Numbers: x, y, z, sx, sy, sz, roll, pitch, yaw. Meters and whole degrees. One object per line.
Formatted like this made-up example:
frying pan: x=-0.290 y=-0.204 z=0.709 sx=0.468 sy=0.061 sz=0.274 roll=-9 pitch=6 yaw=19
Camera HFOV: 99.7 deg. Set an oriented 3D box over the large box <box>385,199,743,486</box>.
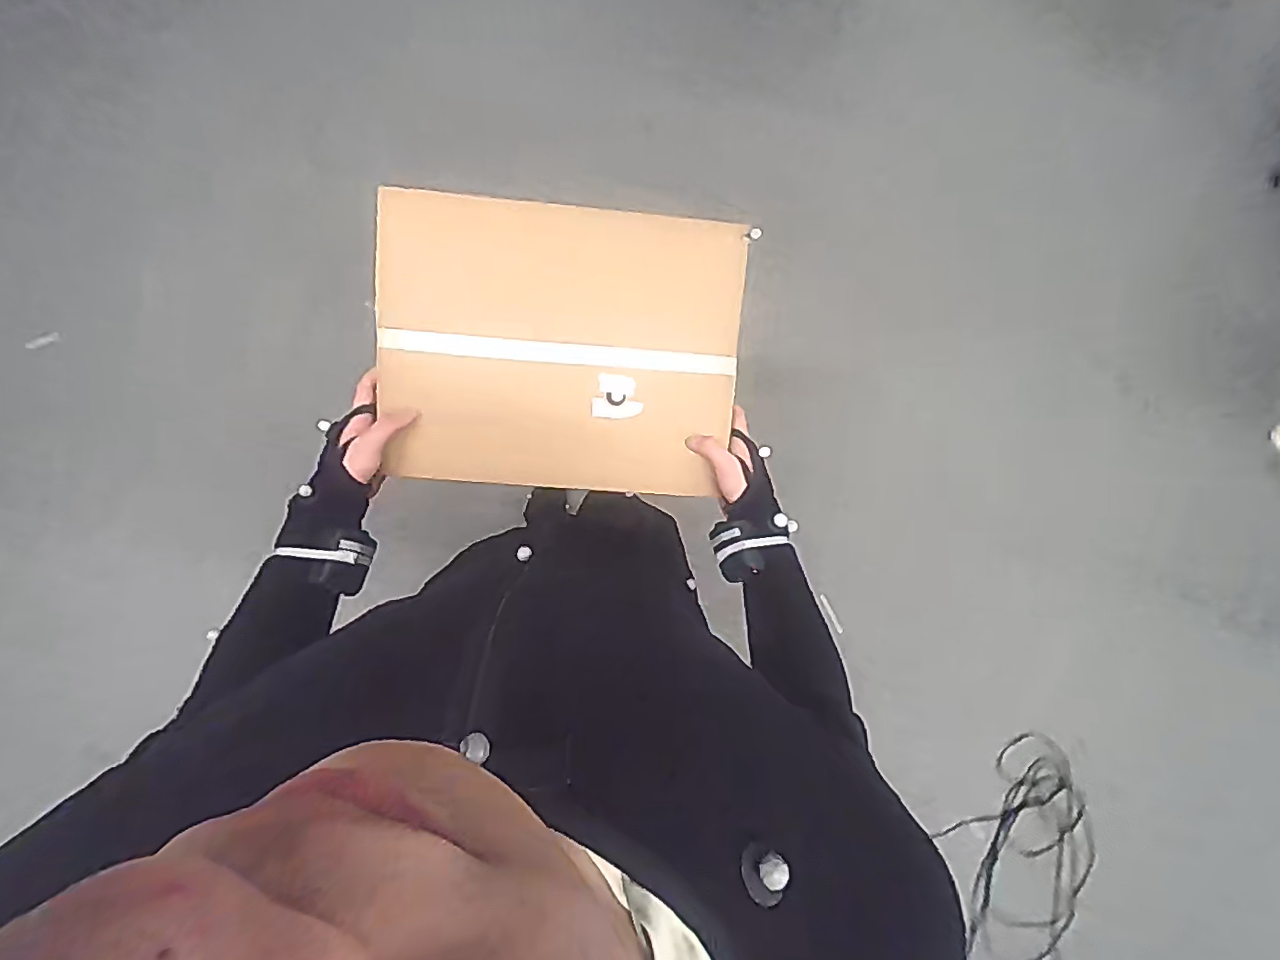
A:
large box: x=-0.099 y=-0.171 z=0.770 sx=0.408 sy=0.320 sz=0.320 roll=2 pitch=100 yaw=-5
